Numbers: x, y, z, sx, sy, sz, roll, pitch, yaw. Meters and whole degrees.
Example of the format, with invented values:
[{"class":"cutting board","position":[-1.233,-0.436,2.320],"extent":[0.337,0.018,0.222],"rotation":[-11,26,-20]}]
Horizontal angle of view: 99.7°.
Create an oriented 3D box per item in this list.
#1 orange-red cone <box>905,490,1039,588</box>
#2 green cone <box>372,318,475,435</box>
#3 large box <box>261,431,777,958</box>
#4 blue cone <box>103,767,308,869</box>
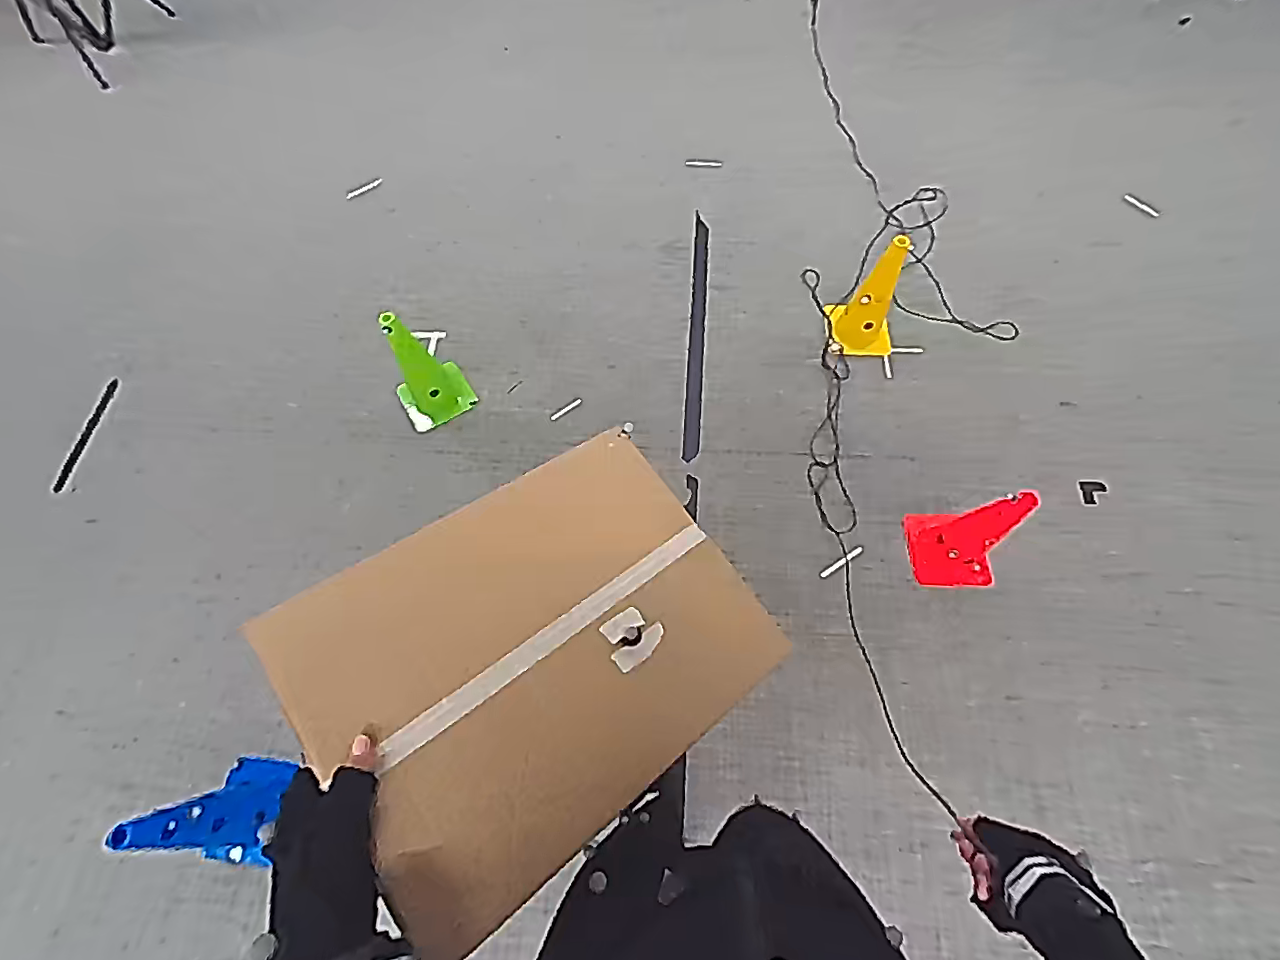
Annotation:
[{"class":"orange-red cone","position":[0.813,0.111,1.284],"extent":[0.198,0.360,0.199],"rotation":[1,64,1]},{"class":"green cone","position":[-0.642,-0.323,1.521],"extent":[0.202,0.368,0.200],"rotation":[-32,68,-11]},{"class":"large box","position":[-0.127,0.215,0.648],"extent":[0.408,0.320,0.320],"rotation":[-31,76,-27]},{"class":"blue cone","position":[-0.866,0.692,1.074],"extent":[0.192,0.380,0.193],"rotation":[5,65,5]}]
